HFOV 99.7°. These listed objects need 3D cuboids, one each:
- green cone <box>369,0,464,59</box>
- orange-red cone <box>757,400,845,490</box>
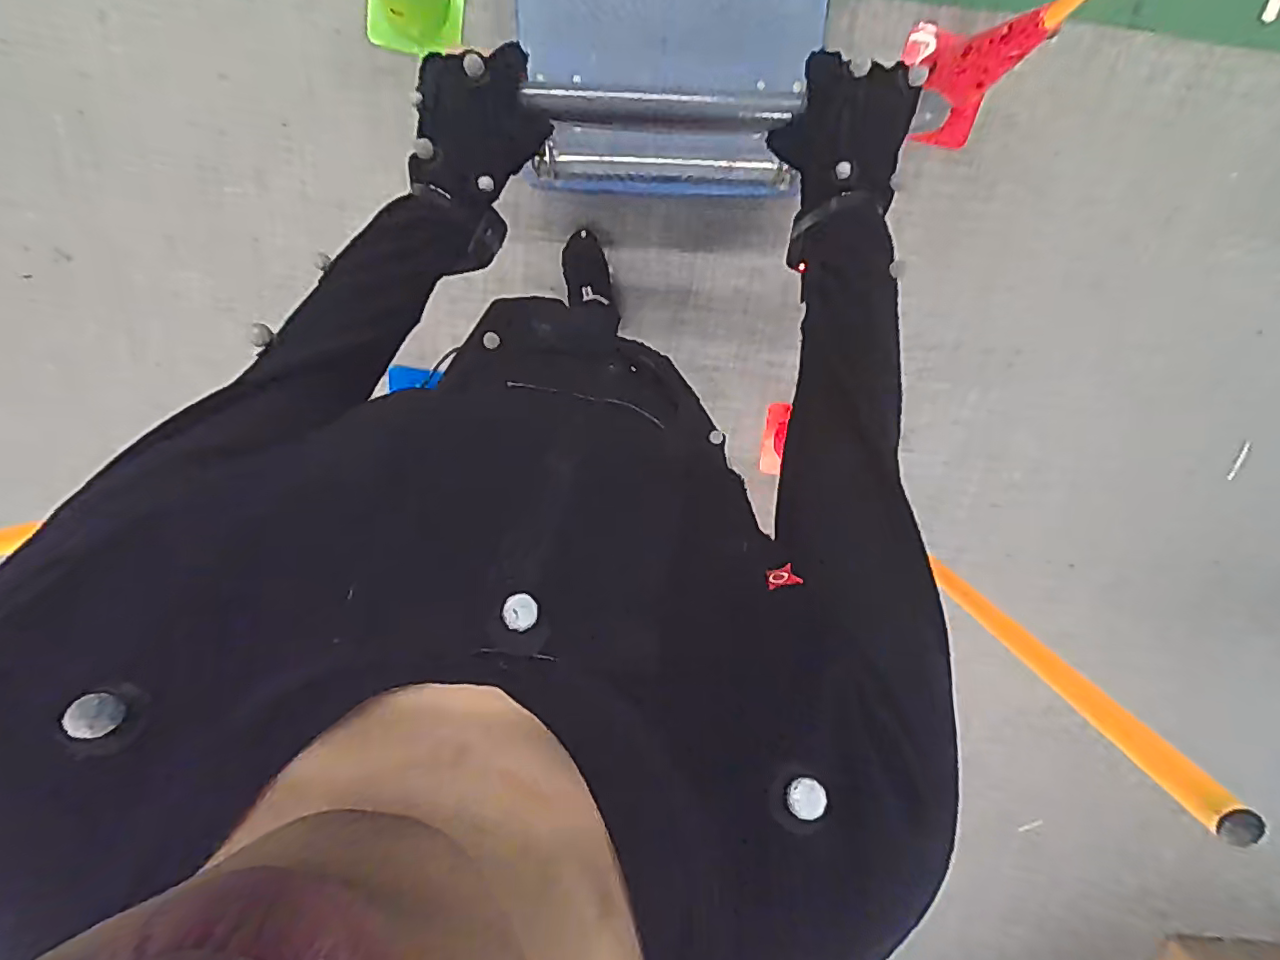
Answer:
[{"bbox_3d":[-0.475,-0.962,0.977,0.202,0.368,0.200,11,110,-2],"label":"green cone"},{"bbox_3d":[0.422,-0.054,1.310,0.199,0.360,0.198,7,110,0],"label":"orange-red cone"}]
